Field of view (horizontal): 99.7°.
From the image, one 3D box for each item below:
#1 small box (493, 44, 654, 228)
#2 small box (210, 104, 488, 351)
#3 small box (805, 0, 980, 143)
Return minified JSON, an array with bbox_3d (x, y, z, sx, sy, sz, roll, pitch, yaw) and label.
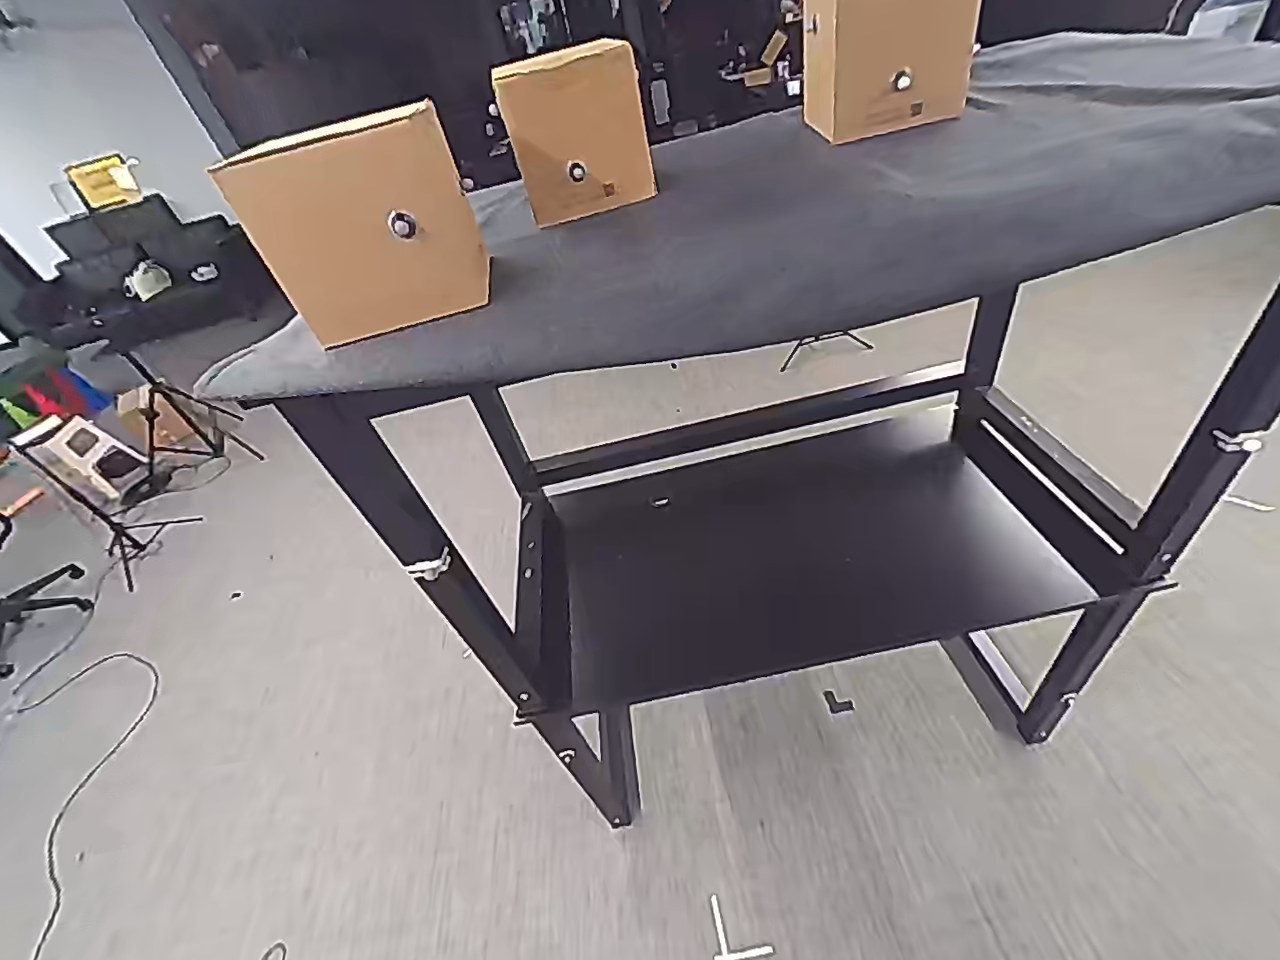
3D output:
[{"bbox_3d":[-0.089,-0.461,0.727,0.168,0.176,0.179,-17,42,-2],"label":"small box"},{"bbox_3d":[-0.265,-0.256,0.550,0.179,0.176,0.168,-16,40,-2],"label":"small box"},{"bbox_3d":[0.320,-0.571,0.721,0.168,0.176,0.179,-9,42,8],"label":"small box"}]
